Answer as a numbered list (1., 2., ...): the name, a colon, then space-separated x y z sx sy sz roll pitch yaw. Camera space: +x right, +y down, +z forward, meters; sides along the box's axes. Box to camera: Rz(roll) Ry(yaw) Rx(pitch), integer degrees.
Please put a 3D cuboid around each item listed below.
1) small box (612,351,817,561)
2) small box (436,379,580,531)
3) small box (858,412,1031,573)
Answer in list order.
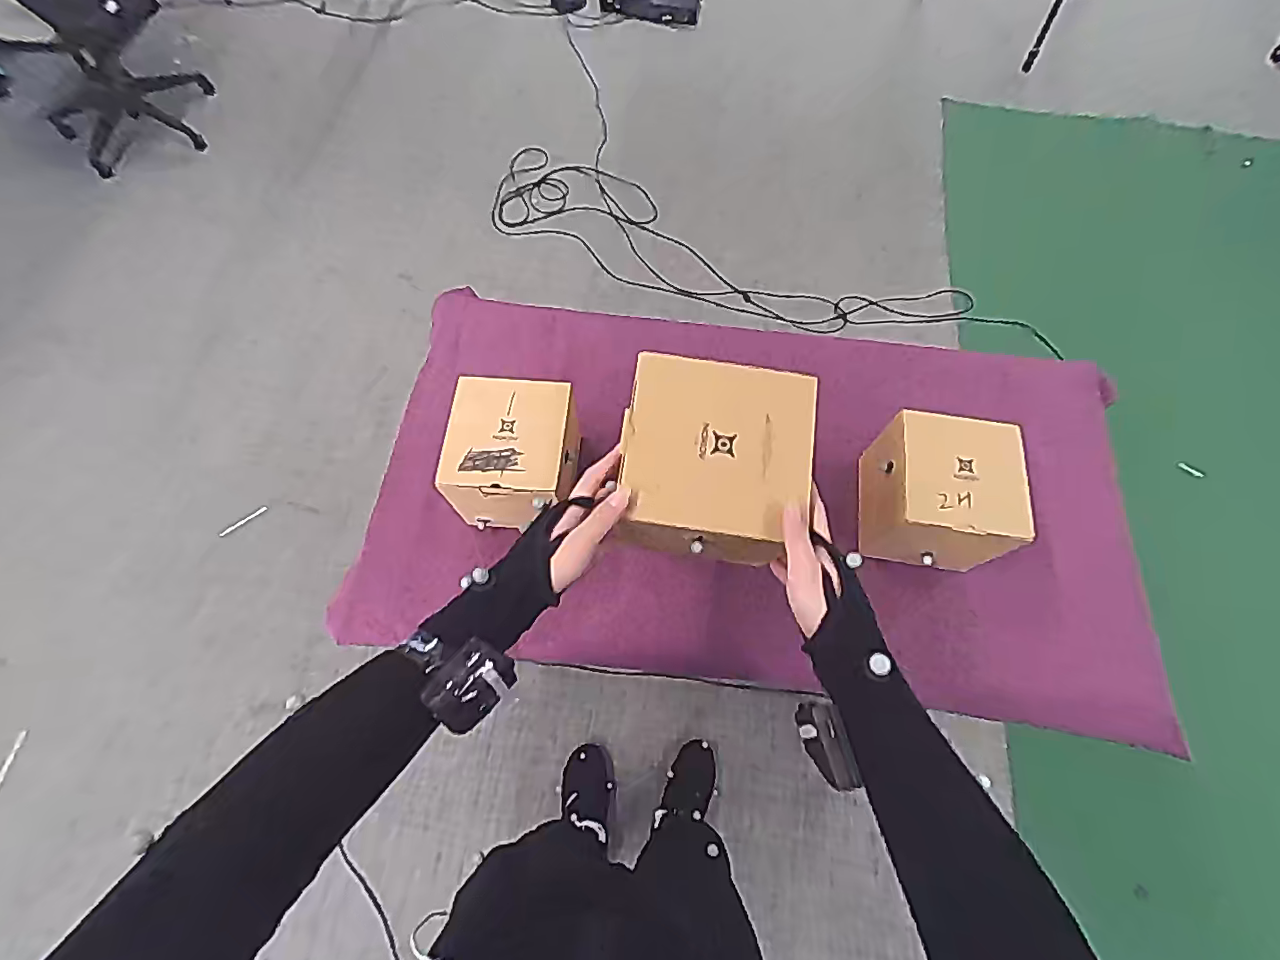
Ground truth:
1. small box: 0.071 -0.014 0.575 0.179 0.176 0.168 9 74 0
2. small box: -0.187 -0.030 0.825 0.168 0.176 0.179 4 65 1
3. small box: 0.438 0.025 0.809 0.168 0.176 0.179 9 67 4
